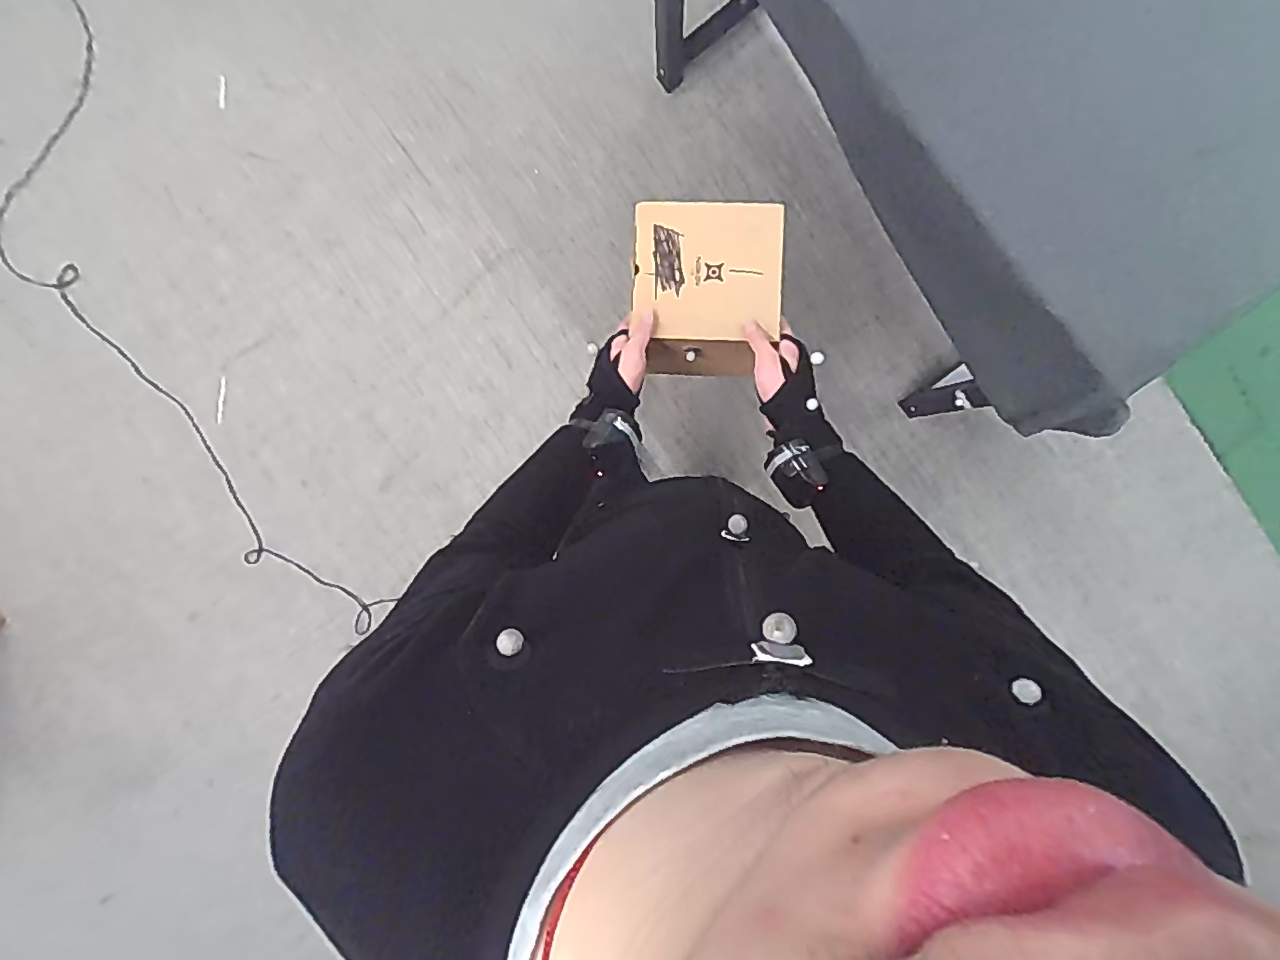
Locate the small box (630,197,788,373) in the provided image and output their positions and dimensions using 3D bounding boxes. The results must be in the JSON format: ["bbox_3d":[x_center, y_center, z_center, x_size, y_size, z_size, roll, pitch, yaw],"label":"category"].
[{"bbox_3d":[0.084,-0.240,0.702,0.179,0.176,0.168,3,88,2],"label":"small box"}]
